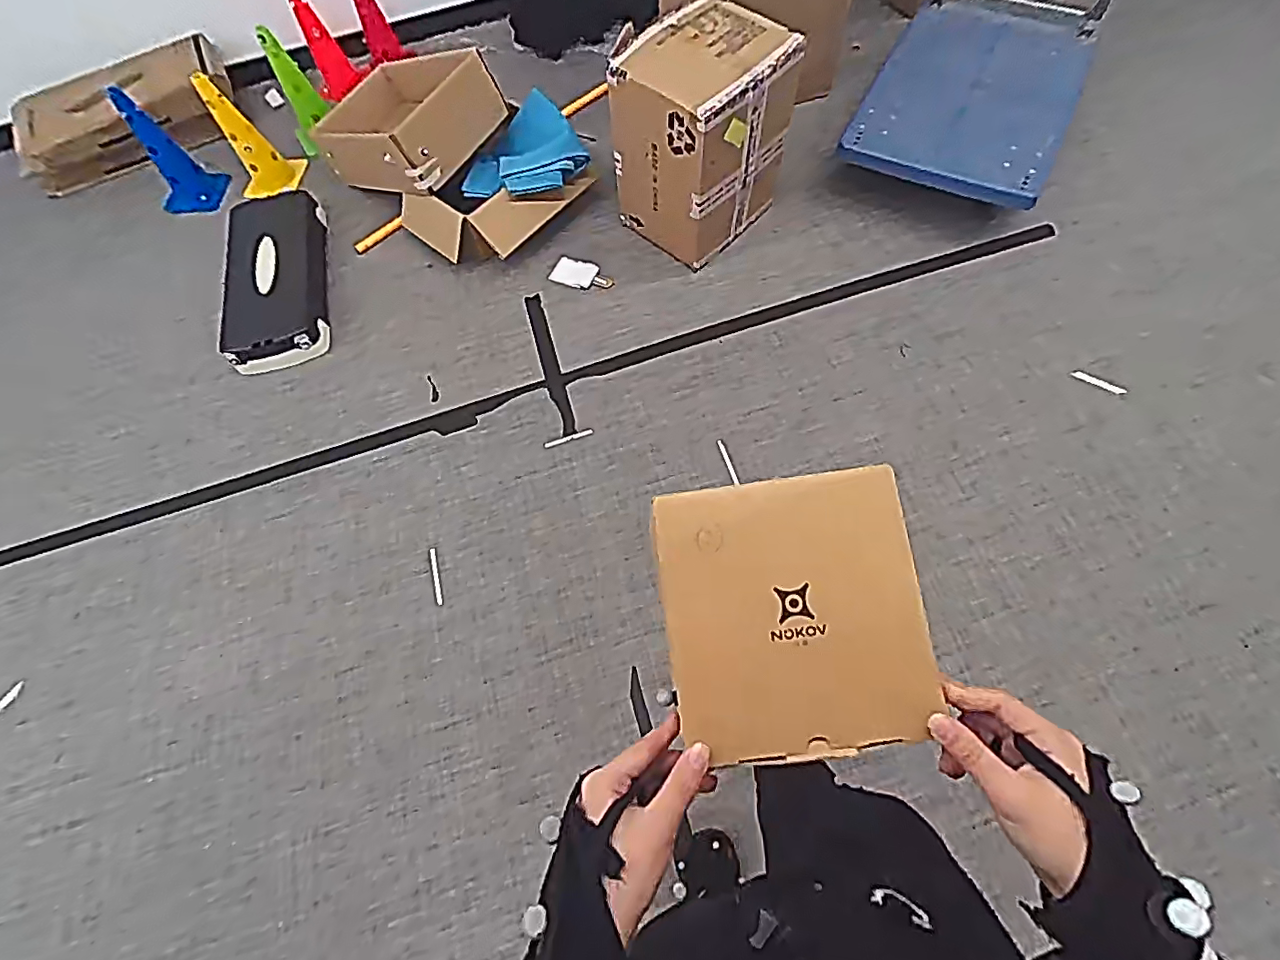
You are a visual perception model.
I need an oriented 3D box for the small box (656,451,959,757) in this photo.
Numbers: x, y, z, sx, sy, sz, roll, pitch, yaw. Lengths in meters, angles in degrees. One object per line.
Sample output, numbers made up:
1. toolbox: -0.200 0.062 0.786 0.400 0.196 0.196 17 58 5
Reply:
1. small box: 0.104 0.090 0.422 0.168 0.176 0.179 -8 79 0
